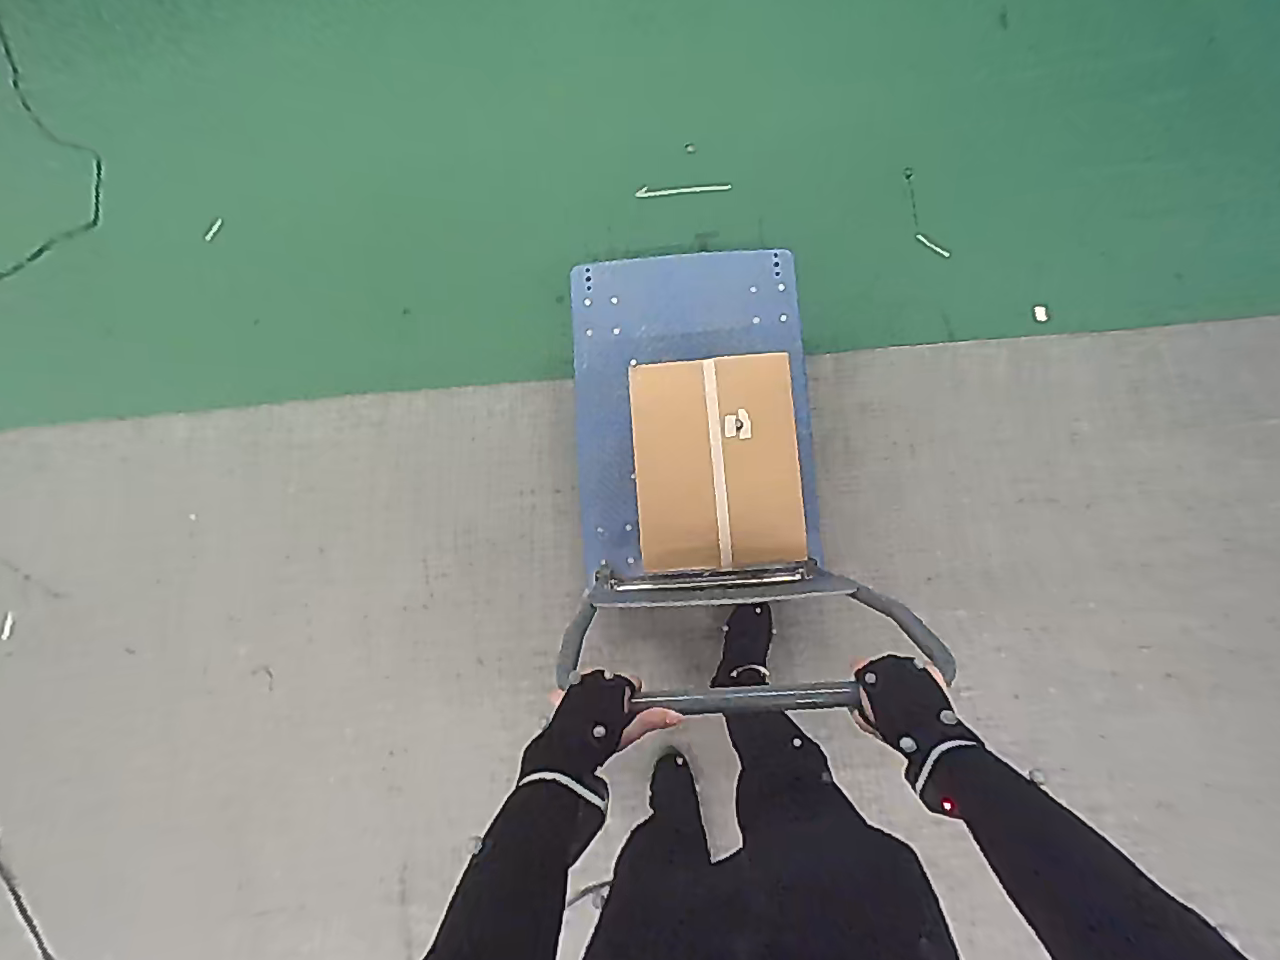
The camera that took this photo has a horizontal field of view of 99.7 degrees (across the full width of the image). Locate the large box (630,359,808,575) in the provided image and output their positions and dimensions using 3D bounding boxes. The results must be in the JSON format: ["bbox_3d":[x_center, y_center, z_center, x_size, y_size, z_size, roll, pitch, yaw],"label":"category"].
[{"bbox_3d":[0.156,-0.013,1.184,0.320,0.320,0.408,-4,84,2],"label":"large box"}]
